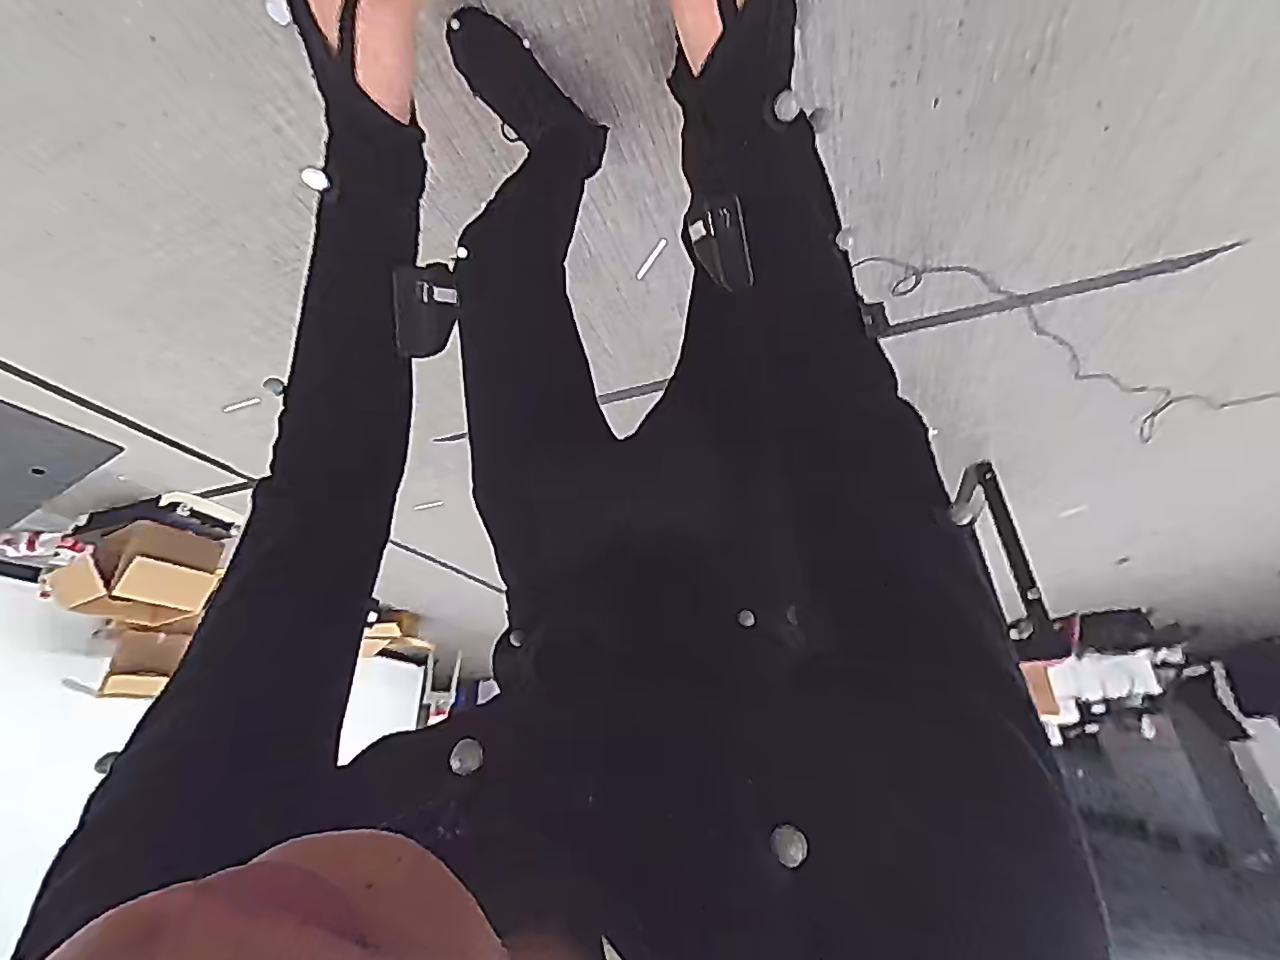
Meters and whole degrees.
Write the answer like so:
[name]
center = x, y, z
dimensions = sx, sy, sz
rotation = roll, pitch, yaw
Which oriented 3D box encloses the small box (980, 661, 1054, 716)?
[small box]
center = 1.309, 0.730, 1.891
dimensions = 0.168, 0.176, 0.179
rotation = -11, 151, 21
